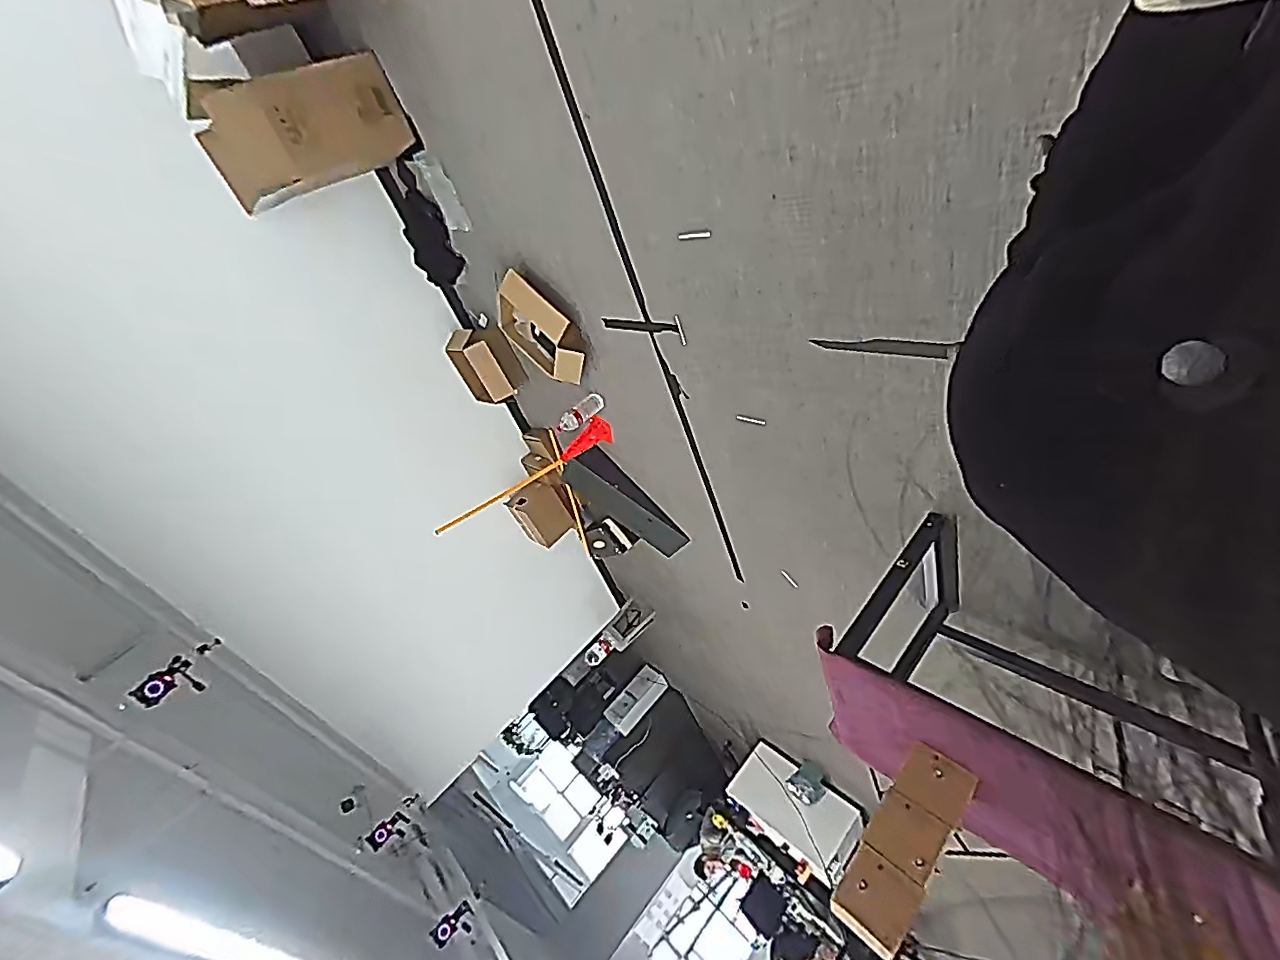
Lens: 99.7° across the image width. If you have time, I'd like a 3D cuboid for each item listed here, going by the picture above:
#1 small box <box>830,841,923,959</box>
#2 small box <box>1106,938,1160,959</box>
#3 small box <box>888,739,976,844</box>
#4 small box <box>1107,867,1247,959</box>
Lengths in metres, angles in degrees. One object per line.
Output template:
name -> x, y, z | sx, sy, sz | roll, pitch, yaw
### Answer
small box -> 0.611, 1.081, 1.401 | 0.168, 0.176, 0.179 | 27, 150, 40
small box -> 1.046, 1.093, 1.100 | 0.168, 0.176, 0.179 | 23, 146, 43
small box -> 0.831, 0.885, 1.542 | 0.168, 0.176, 0.179 | 24, 147, 40
small box -> 1.157, 0.993, 1.169 | 0.168, 0.176, 0.179 | 22, 144, 44
